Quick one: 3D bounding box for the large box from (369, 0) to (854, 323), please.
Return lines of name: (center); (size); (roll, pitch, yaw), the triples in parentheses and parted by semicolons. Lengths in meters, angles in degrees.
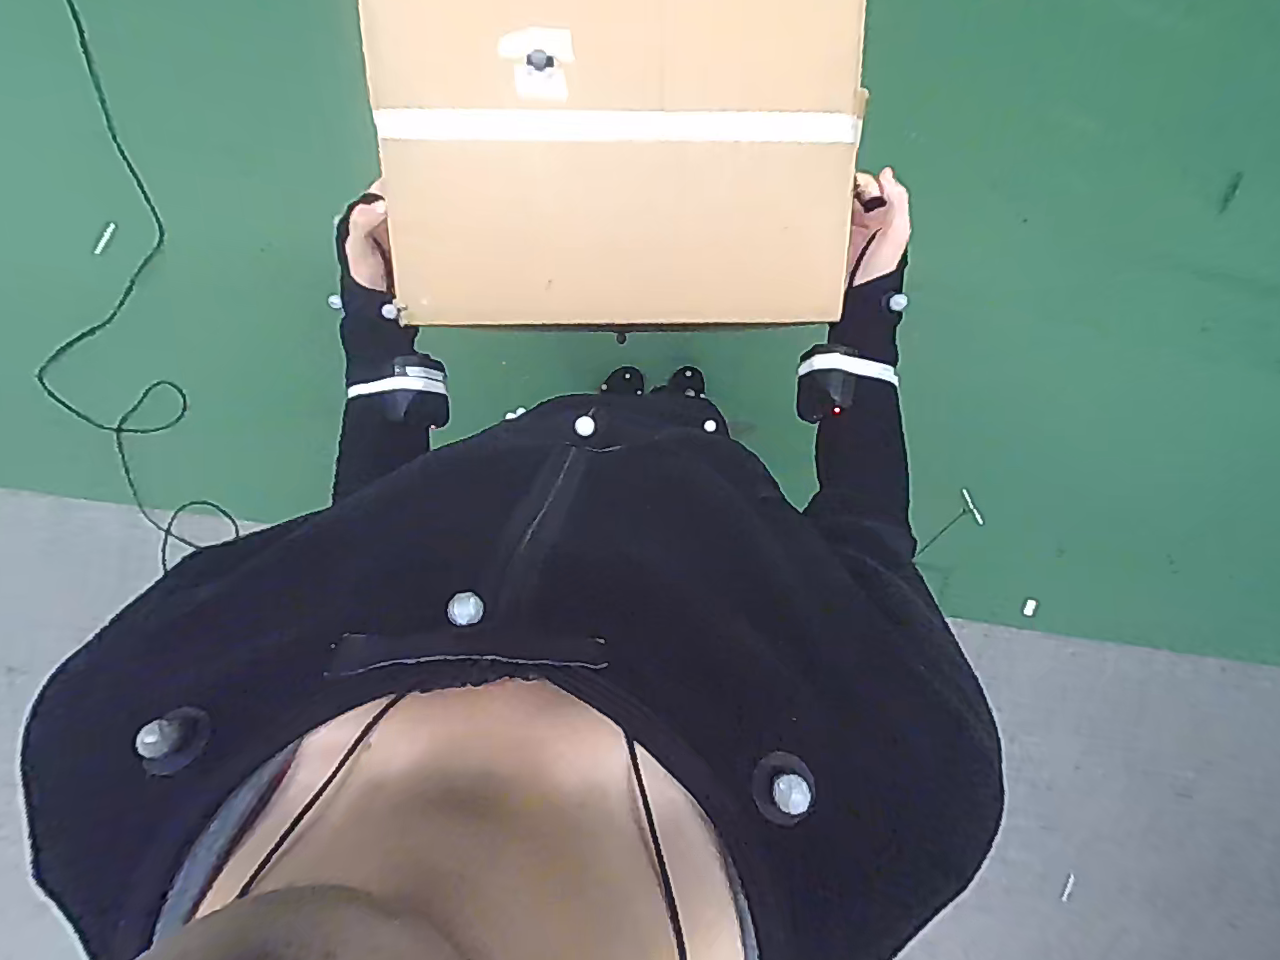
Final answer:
large box: (-0.023, -0.342, 0.609); (0.408, 0.320, 0.320); (-1, 105, -2)
